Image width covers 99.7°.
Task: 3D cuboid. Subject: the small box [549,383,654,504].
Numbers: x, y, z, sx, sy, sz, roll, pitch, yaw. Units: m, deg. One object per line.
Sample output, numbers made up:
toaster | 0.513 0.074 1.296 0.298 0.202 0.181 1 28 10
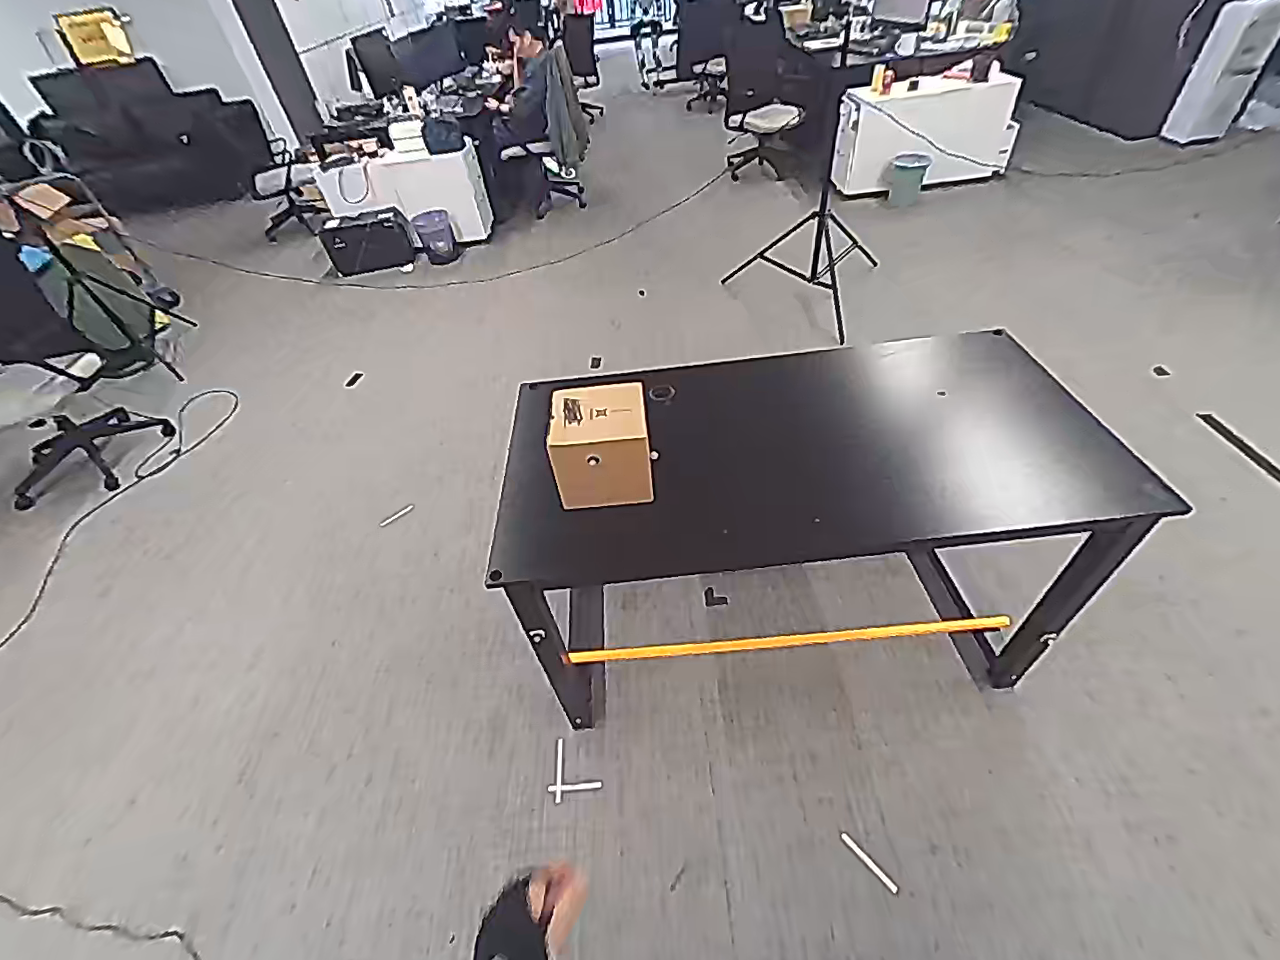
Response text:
small box | -0.069 -0.067 1.053 0.179 0.176 0.168 -5 45 2
